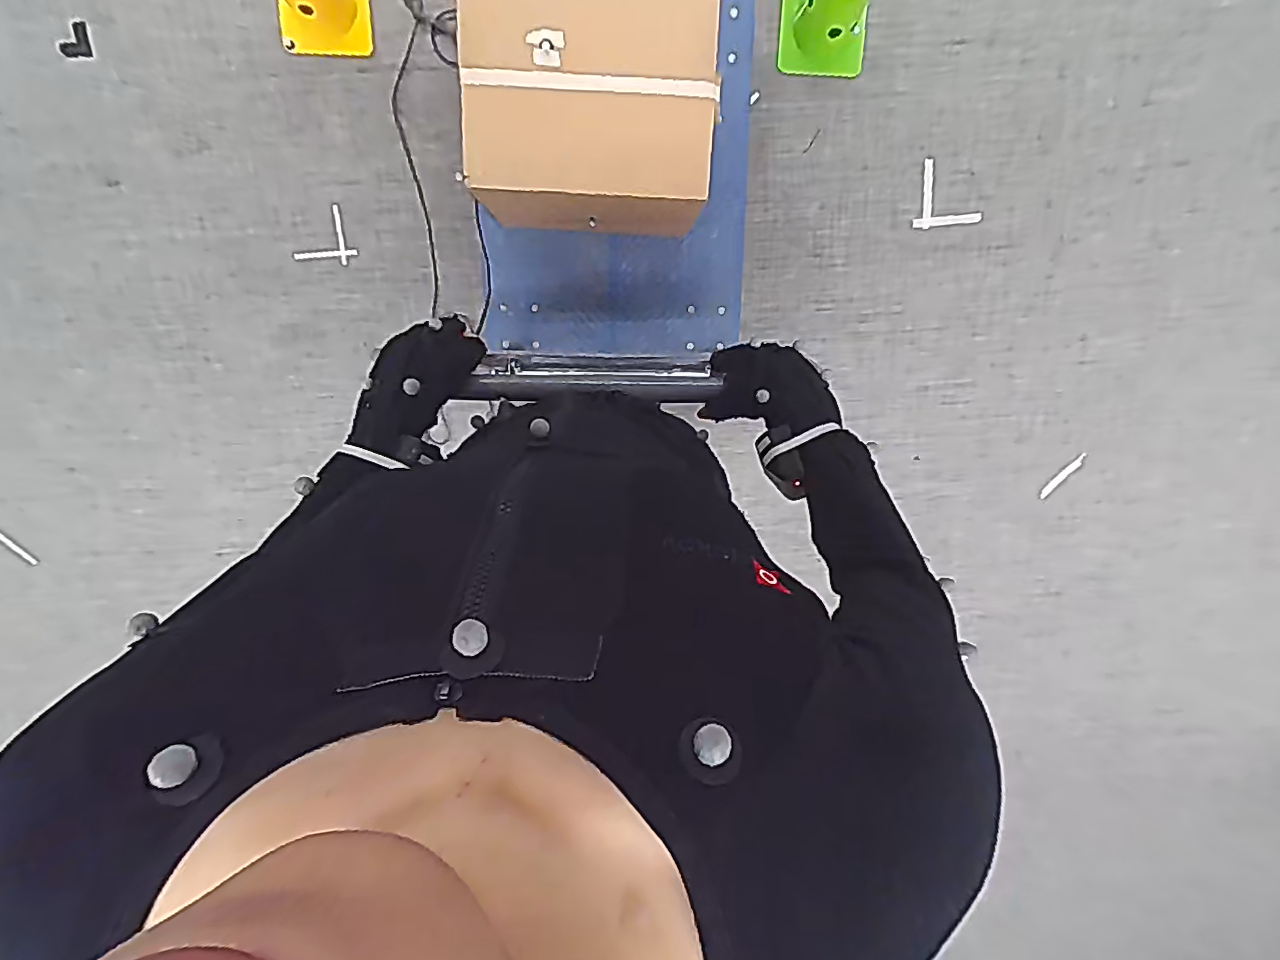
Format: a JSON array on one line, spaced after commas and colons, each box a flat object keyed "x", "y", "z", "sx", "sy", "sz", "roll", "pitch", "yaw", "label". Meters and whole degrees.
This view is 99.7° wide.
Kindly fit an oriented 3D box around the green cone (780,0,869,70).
[{"x": 0.436, "y": -1.027, "z": 1.083, "sx": 0.202, "sy": 0.368, "sz": 0.200, "roll": 0, "pitch": 103, "yaw": -3, "label": "green cone"}]

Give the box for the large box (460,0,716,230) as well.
[{"x": -0.083, "y": -0.661, "z": 1.006, "sx": 0.408, "sy": 0.320, "sz": 0.320, "roll": 2, "pitch": 104, "yaw": -1, "label": "large box"}]
